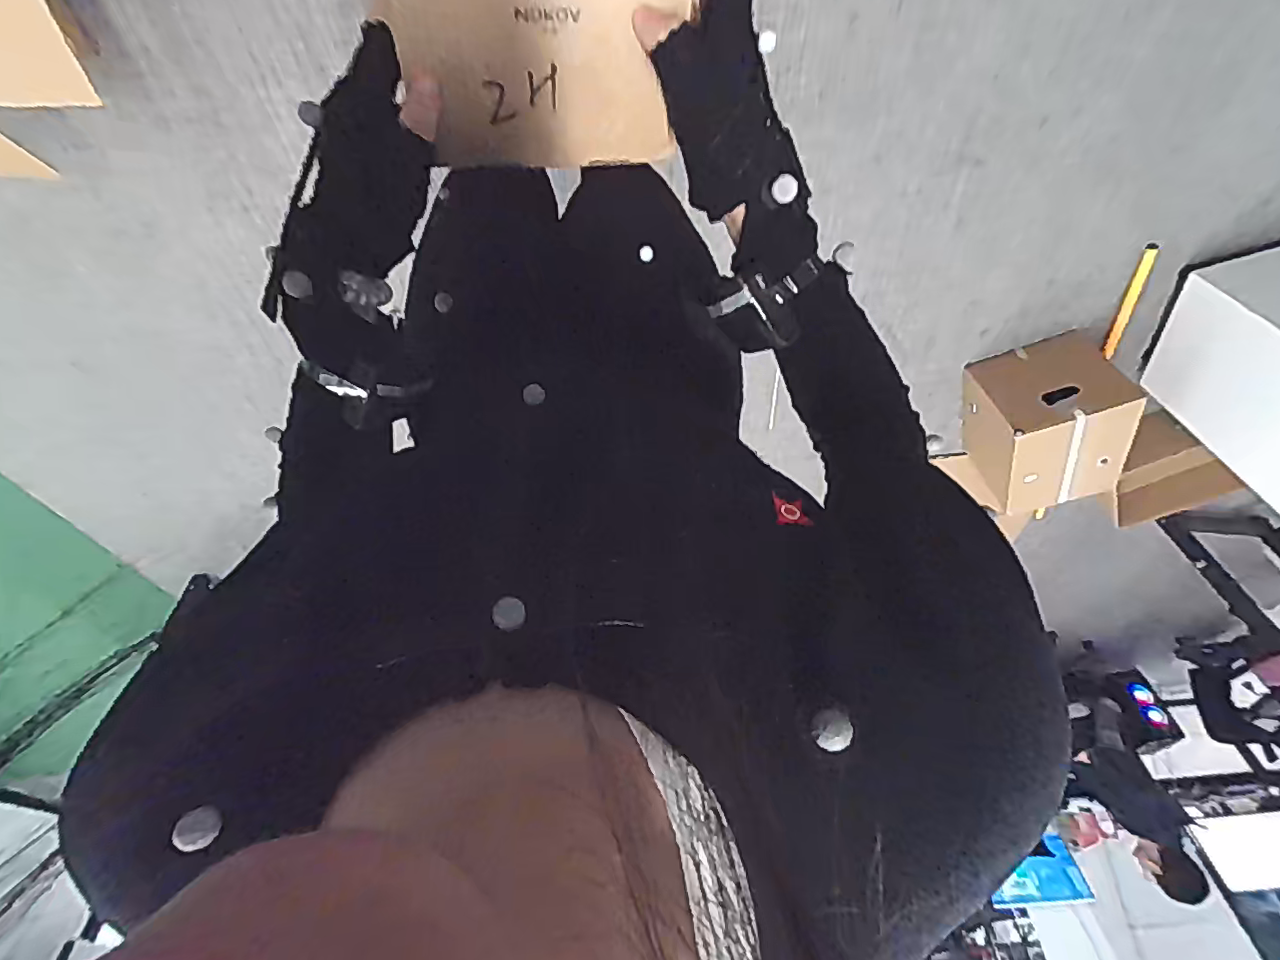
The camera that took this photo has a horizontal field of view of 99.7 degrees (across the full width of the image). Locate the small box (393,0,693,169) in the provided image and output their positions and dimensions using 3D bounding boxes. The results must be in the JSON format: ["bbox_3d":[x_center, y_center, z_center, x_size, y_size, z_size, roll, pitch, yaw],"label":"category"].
[{"bbox_3d":[-0.067,-0.322,0.339,0.168,0.176,0.179,-8,142,-11],"label":"small box"}]
